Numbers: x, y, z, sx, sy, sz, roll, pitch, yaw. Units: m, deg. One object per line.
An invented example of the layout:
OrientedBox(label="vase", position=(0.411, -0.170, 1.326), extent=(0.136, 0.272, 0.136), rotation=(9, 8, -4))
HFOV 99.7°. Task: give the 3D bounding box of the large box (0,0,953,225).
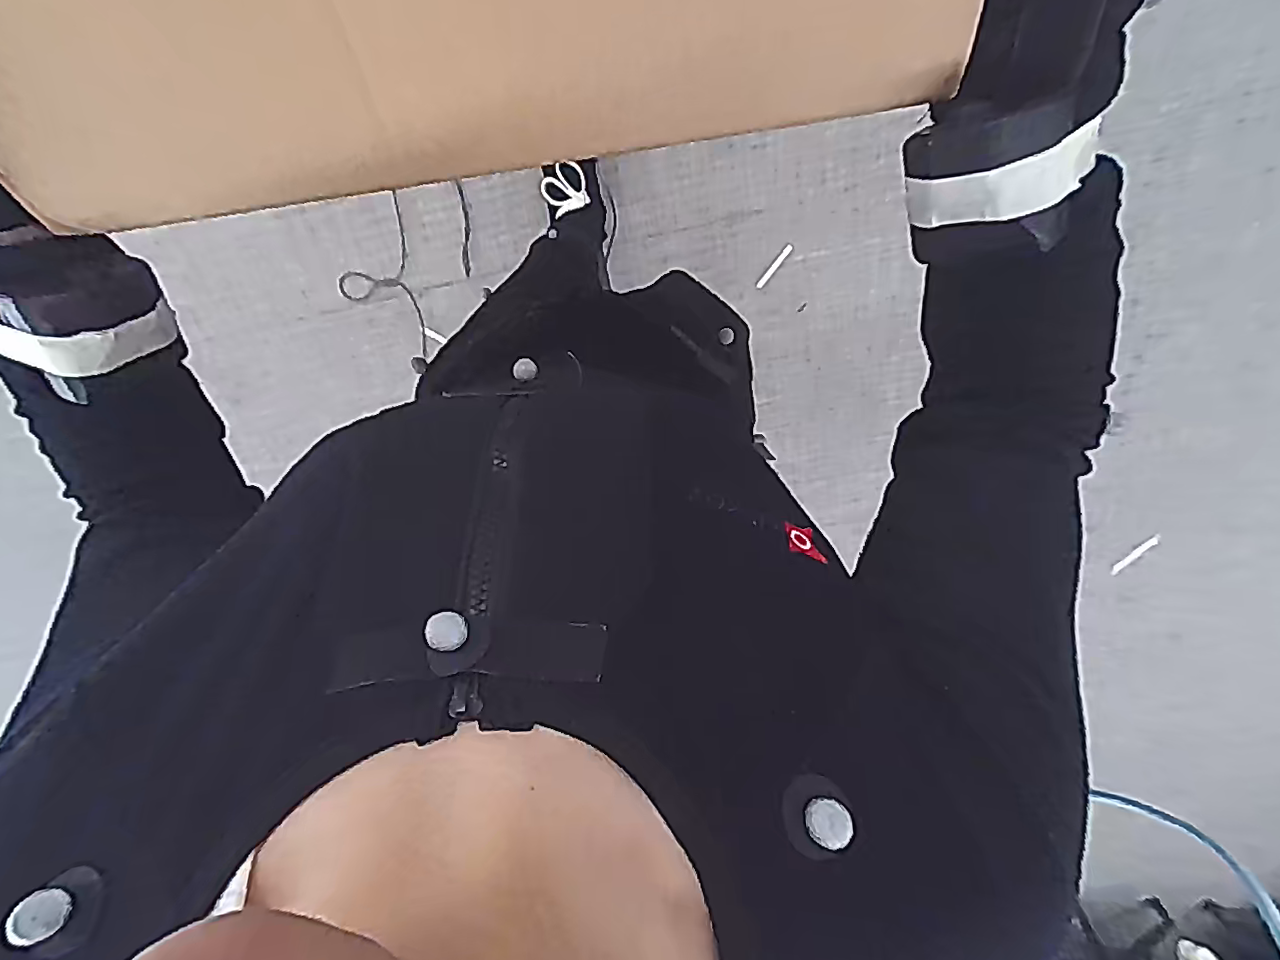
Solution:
OrientedBox(label="large box", position=(-0.094, -0.358, 0.230), extent=(0.408, 0.320, 0.320), rotation=(-7, 138, 2))
